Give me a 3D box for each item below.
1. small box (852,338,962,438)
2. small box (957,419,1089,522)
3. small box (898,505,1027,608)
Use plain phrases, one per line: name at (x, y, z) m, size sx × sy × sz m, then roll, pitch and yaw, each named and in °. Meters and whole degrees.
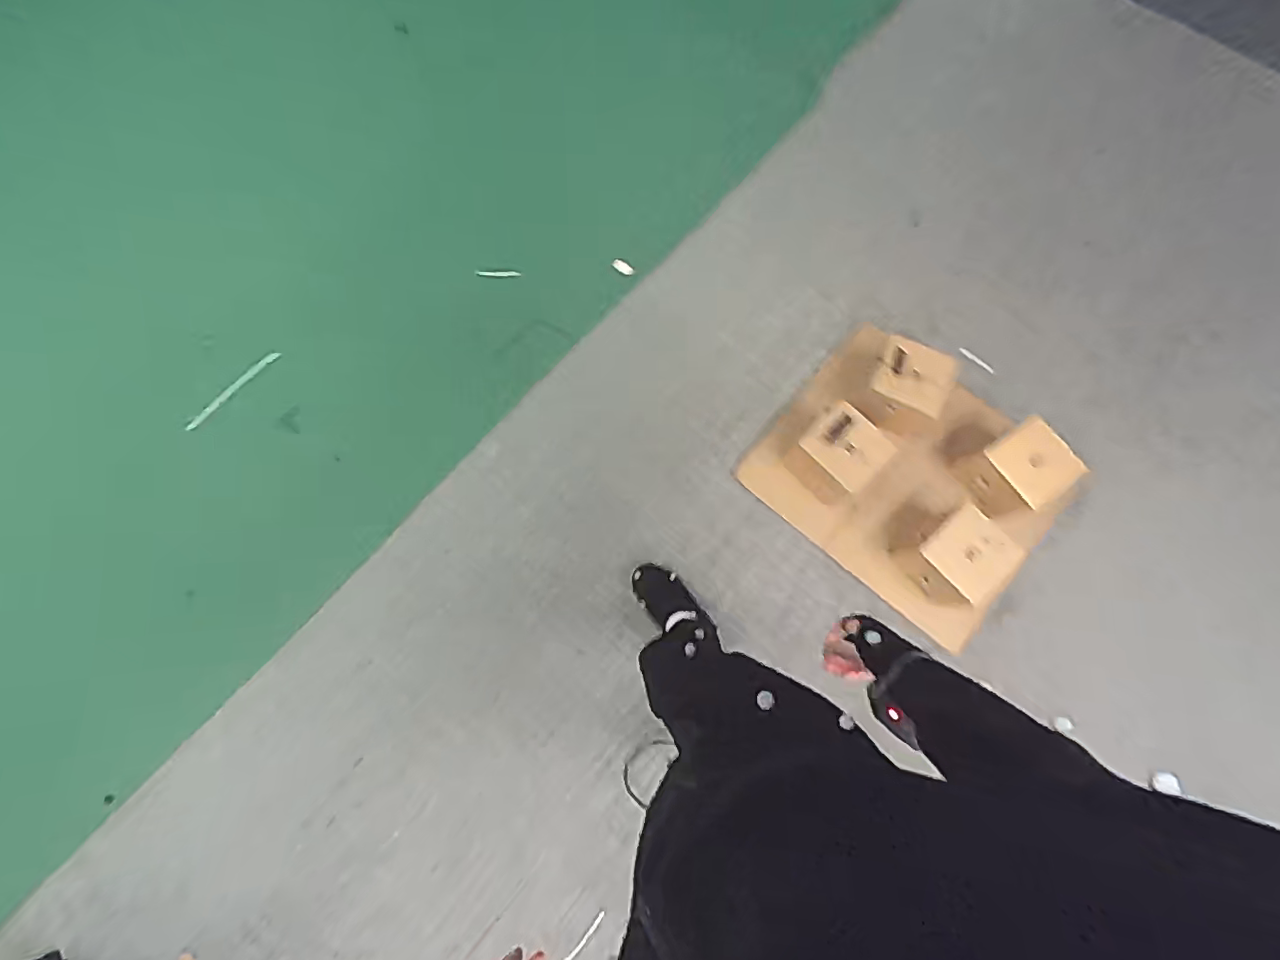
small box at (0.678, -0.229, 1.395) m, size 0.179 × 0.176 × 0.168 m, roll 27°, pitch 78°, yaw 6°
small box at (0.925, -0.015, 1.333) m, size 0.179 × 0.176 × 0.168 m, roll -33°, pitch 77°, yaw -8°
small box at (0.746, 0.188, 1.281) m, size 0.179 × 0.176 × 0.168 m, roll -40°, pitch 79°, yaw -9°
